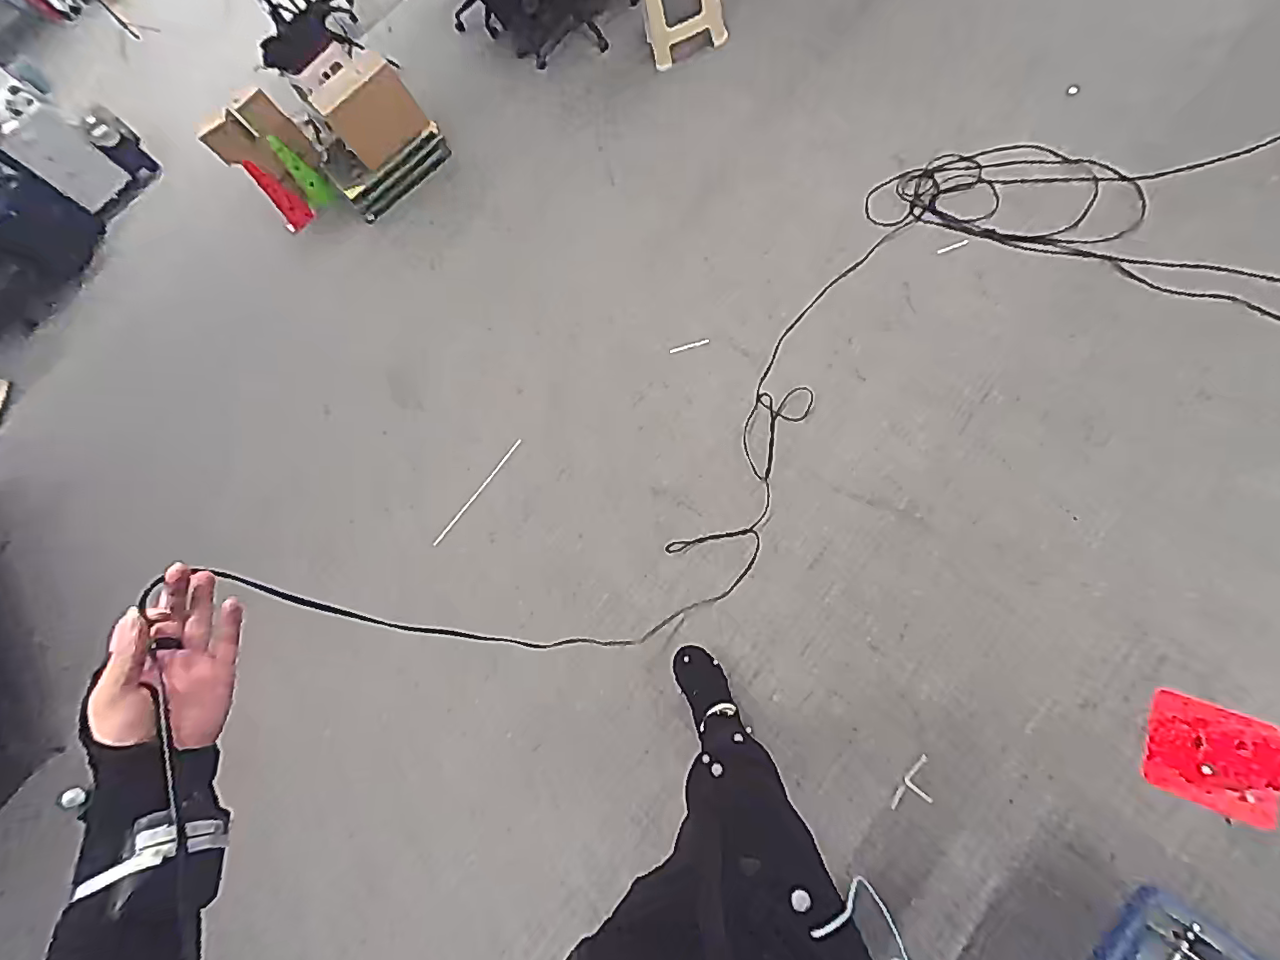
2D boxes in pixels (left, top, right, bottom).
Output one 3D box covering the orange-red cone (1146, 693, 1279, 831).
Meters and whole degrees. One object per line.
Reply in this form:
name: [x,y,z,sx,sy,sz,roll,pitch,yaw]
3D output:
orange-red cone: [1.087,0.482,0.922,0.198,0.360,0.199,19,73,25]
